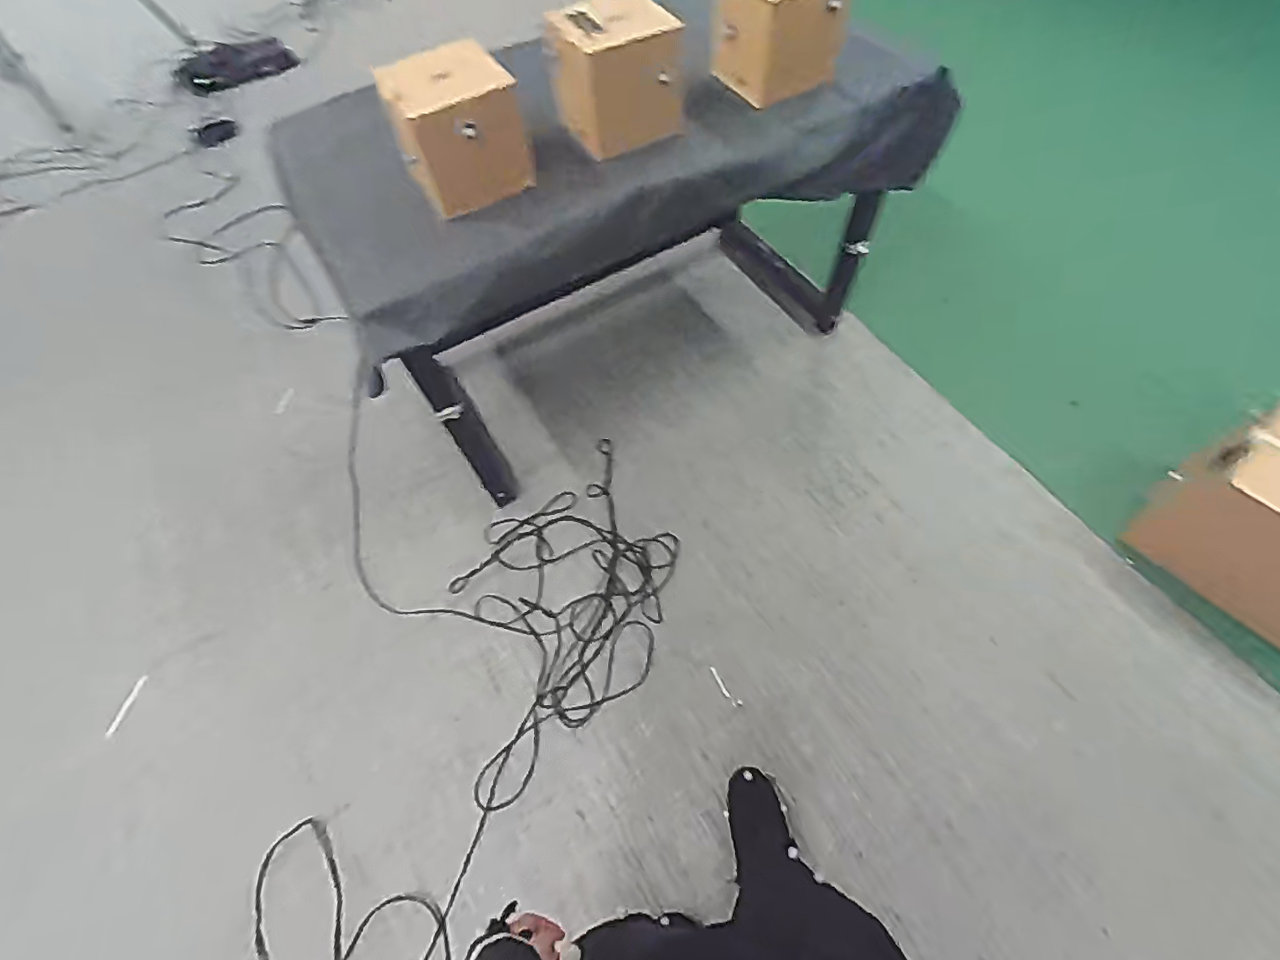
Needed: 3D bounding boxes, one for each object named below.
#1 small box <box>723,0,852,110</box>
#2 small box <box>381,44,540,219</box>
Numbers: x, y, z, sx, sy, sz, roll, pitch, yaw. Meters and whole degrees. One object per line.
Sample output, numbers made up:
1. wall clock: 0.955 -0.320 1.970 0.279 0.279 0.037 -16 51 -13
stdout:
1. small box: 0.267 -0.826 1.002 0.179 0.176 0.168 -26 63 -11
2. small box: -0.287 -0.570 0.896 0.179 0.176 0.168 -29 65 -13
